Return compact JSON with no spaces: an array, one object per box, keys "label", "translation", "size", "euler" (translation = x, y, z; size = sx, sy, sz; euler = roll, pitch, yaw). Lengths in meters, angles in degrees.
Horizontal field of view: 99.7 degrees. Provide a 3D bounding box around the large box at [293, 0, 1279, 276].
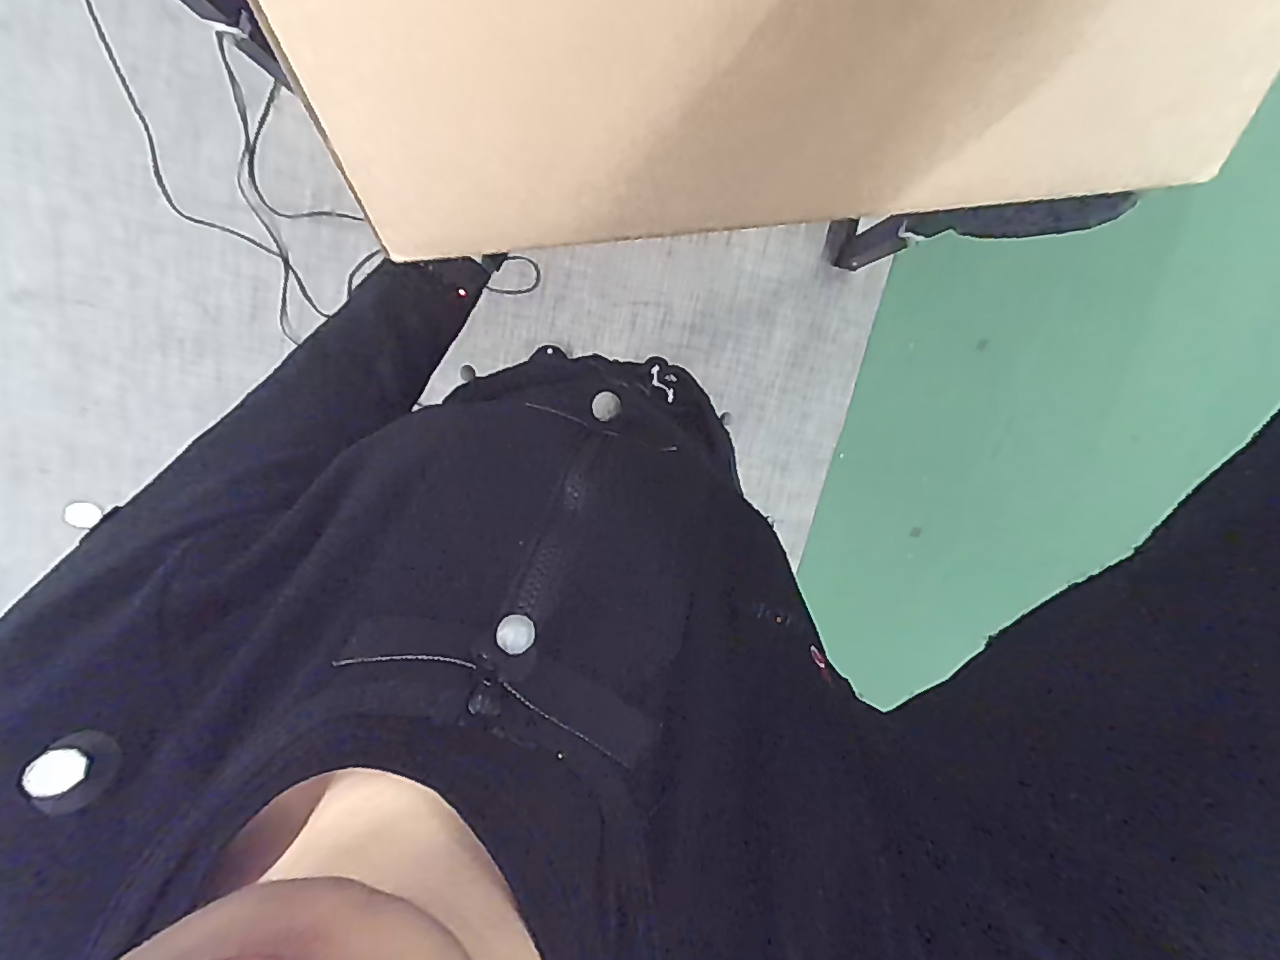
[{"label":"large box","translation":[0.054,-0.341,0.273],"size":[0.408,0.320,0.320],"euler":[-3,138,10]}]
